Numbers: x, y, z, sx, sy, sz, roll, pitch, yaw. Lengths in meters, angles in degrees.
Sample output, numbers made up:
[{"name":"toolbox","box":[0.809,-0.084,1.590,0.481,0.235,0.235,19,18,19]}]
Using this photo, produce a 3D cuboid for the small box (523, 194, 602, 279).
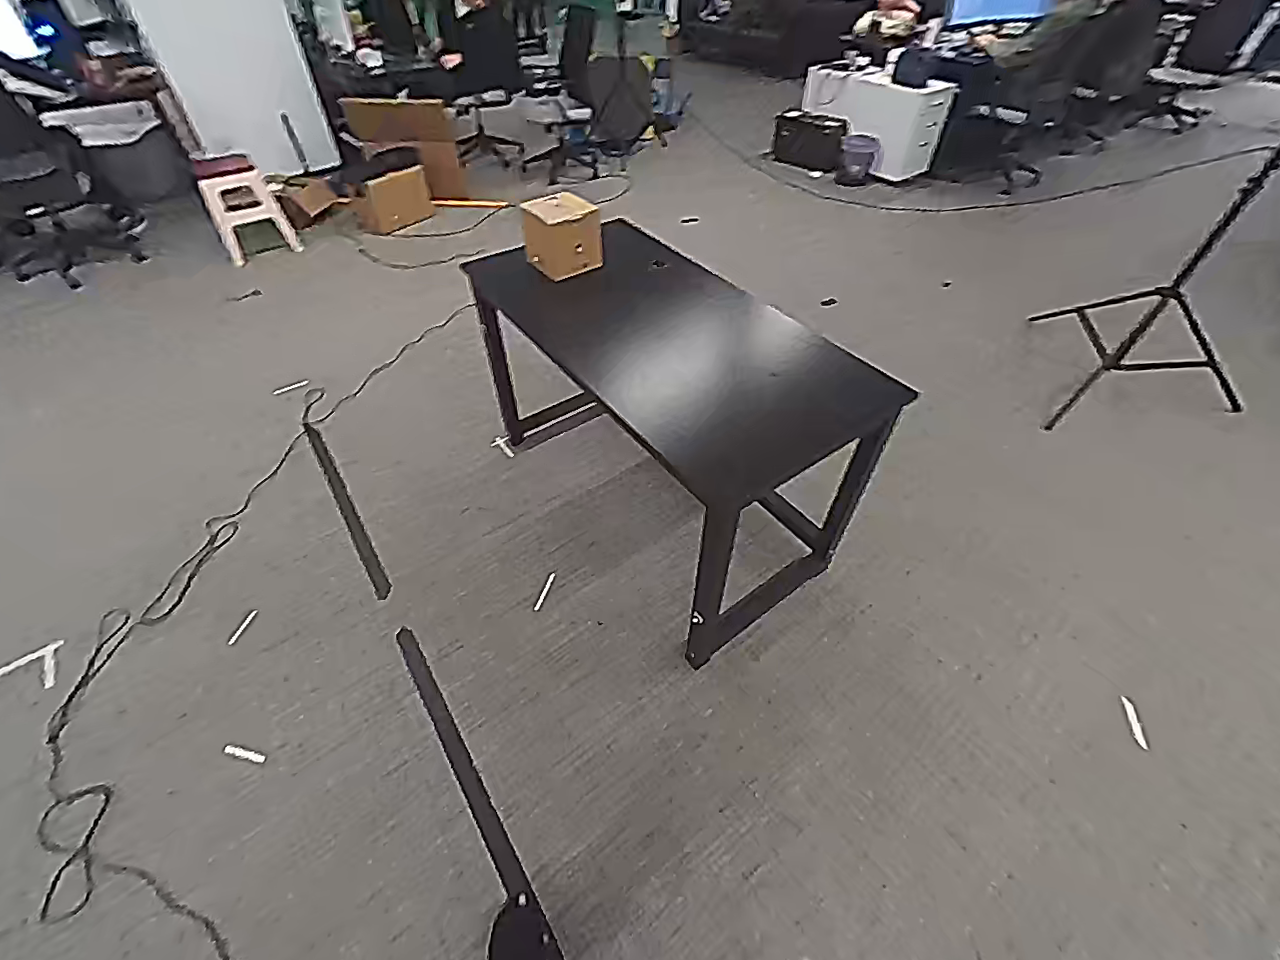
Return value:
[{"name":"small box","box":[-0.224,-0.715,1.602,0.168,0.176,0.179,-29,55,-26]}]
